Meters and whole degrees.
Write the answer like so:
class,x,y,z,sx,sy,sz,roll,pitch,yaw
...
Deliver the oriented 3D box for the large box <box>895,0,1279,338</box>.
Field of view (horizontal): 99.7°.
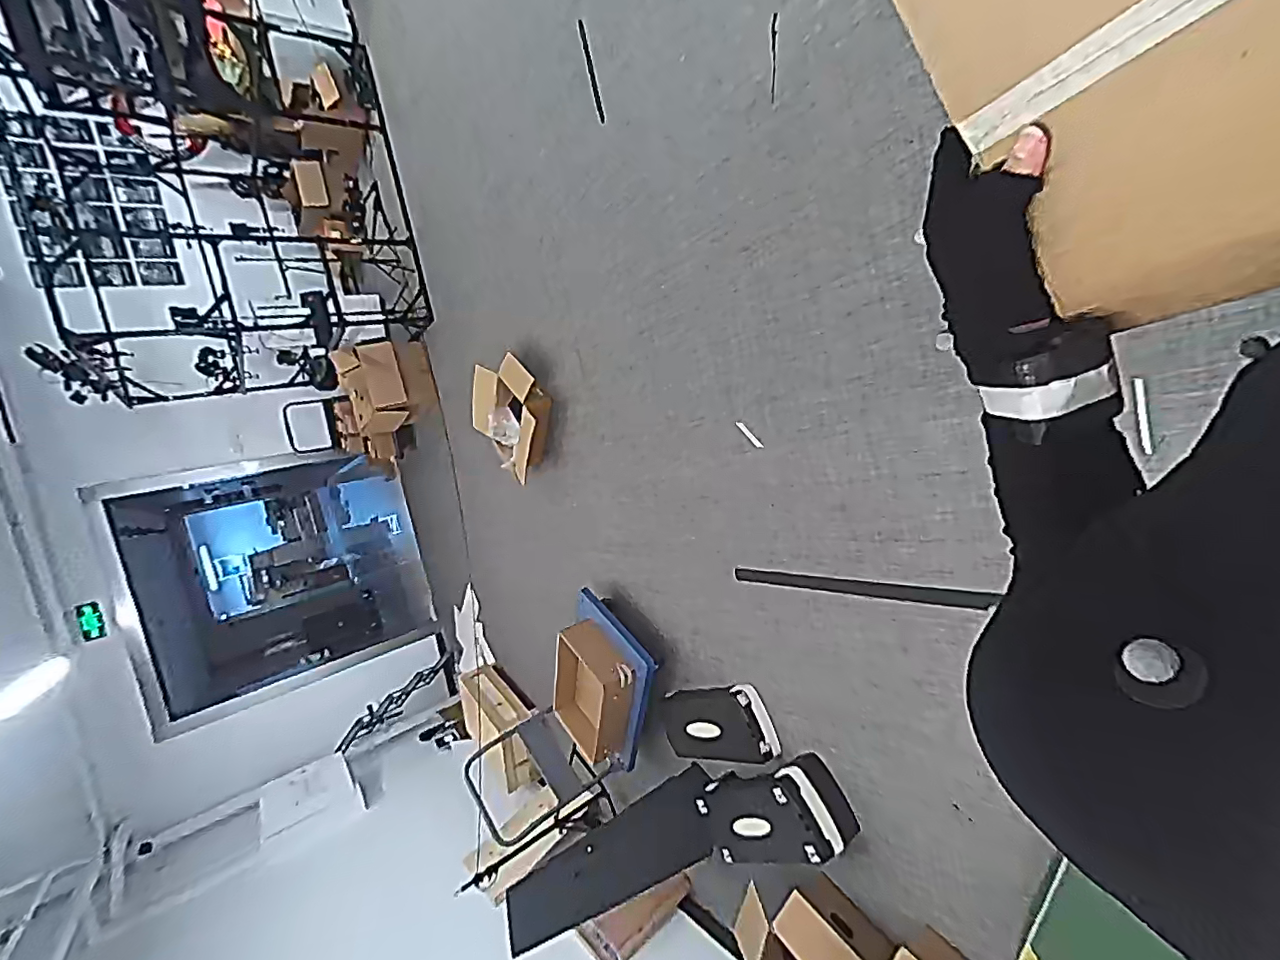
class,x,y,z,sx,sy,sz,roll,pitch,yaw
large box,0.392,-0.335,0.239,0.320,0.320,0.408,48,151,-17
